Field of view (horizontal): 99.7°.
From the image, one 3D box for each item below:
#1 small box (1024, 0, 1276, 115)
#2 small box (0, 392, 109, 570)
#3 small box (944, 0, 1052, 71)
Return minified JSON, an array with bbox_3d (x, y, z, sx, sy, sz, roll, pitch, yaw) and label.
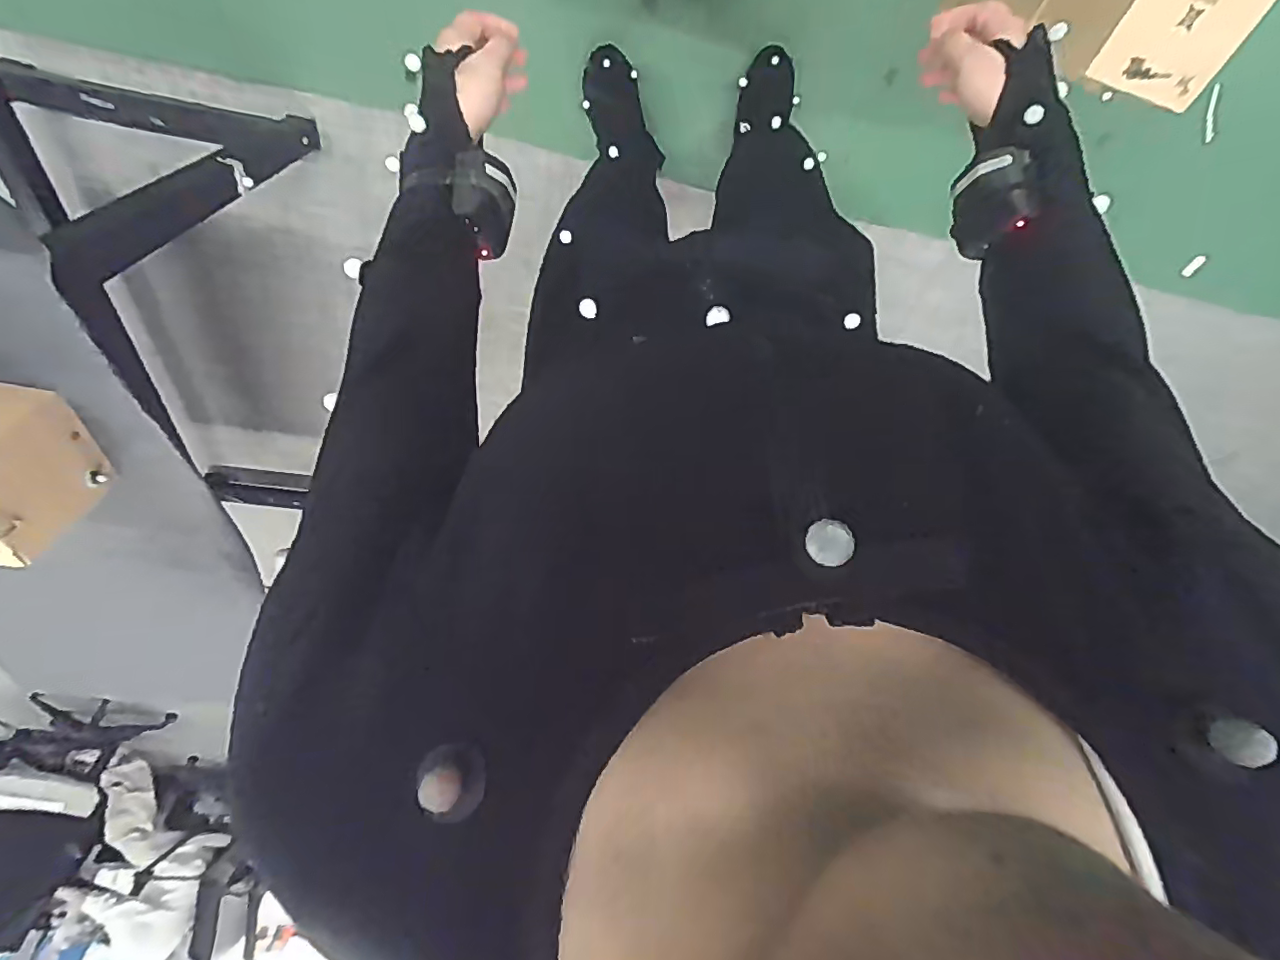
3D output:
[{"bbox_3d":[0.658,-0.612,0.700,0.168,0.176,0.179,10,133,-13],"label":"small box"},{"bbox_3d":[-0.849,-0.009,0.692,0.179,0.176,0.168,10,134,-6],"label":"small box"},{"bbox_3d":[0.661,-0.849,0.928,0.168,0.176,0.179,13,133,-14],"label":"small box"}]
